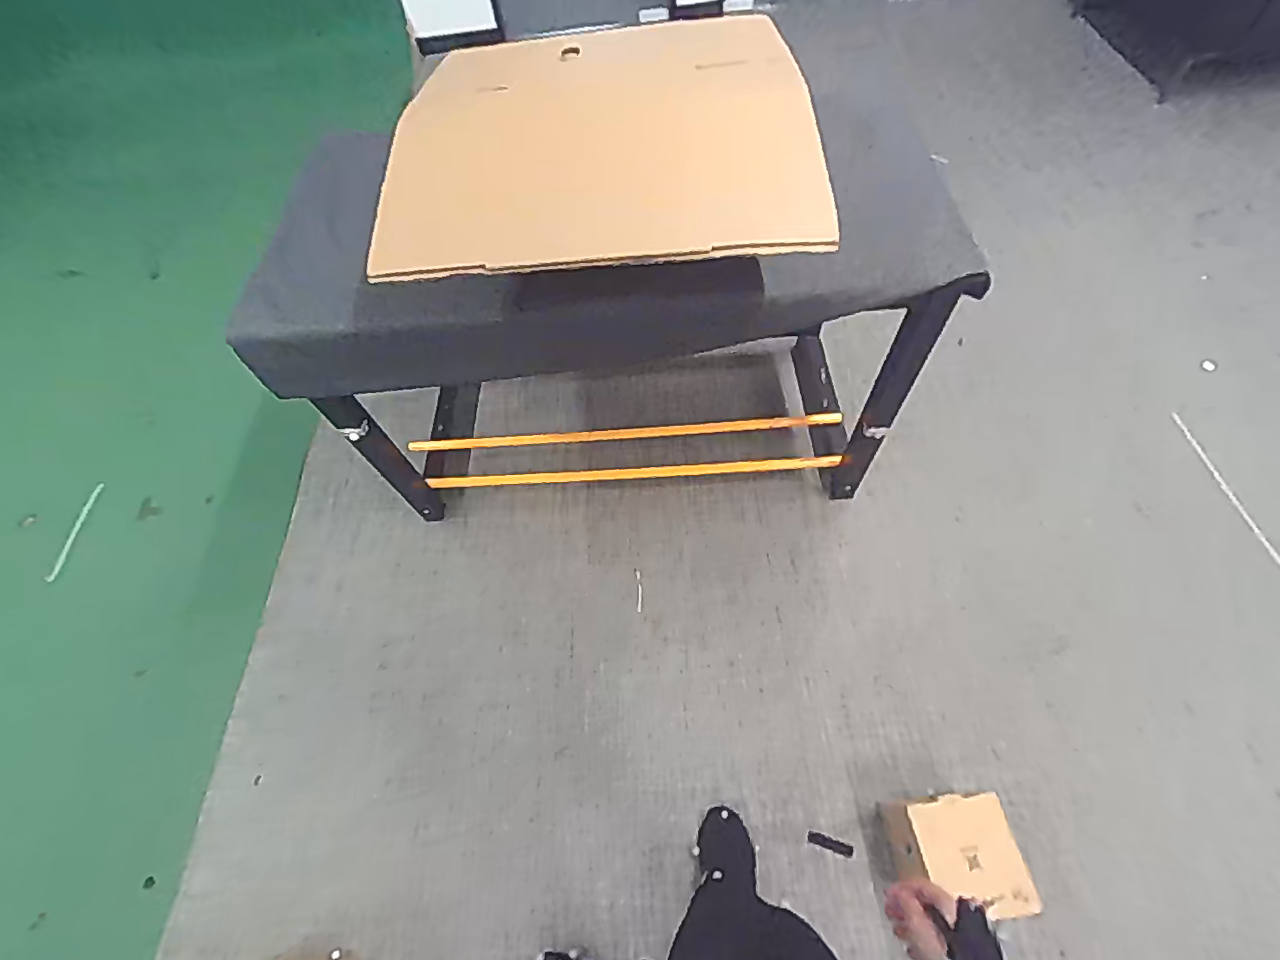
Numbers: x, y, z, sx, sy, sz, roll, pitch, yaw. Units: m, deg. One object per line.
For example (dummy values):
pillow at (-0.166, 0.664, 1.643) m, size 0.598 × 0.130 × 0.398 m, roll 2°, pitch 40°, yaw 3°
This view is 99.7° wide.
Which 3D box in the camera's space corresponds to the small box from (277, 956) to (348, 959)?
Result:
small box at (-0.622, 0.961, 0.942) m, size 0.168 × 0.176 × 0.179 m, roll -3°, pitch 61°, yaw 4°

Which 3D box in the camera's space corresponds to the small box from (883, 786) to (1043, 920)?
small box at (0.575, 0.677, 0.995) m, size 0.168 × 0.176 × 0.179 m, roll -9°, pitch 59°, yaw 0°
